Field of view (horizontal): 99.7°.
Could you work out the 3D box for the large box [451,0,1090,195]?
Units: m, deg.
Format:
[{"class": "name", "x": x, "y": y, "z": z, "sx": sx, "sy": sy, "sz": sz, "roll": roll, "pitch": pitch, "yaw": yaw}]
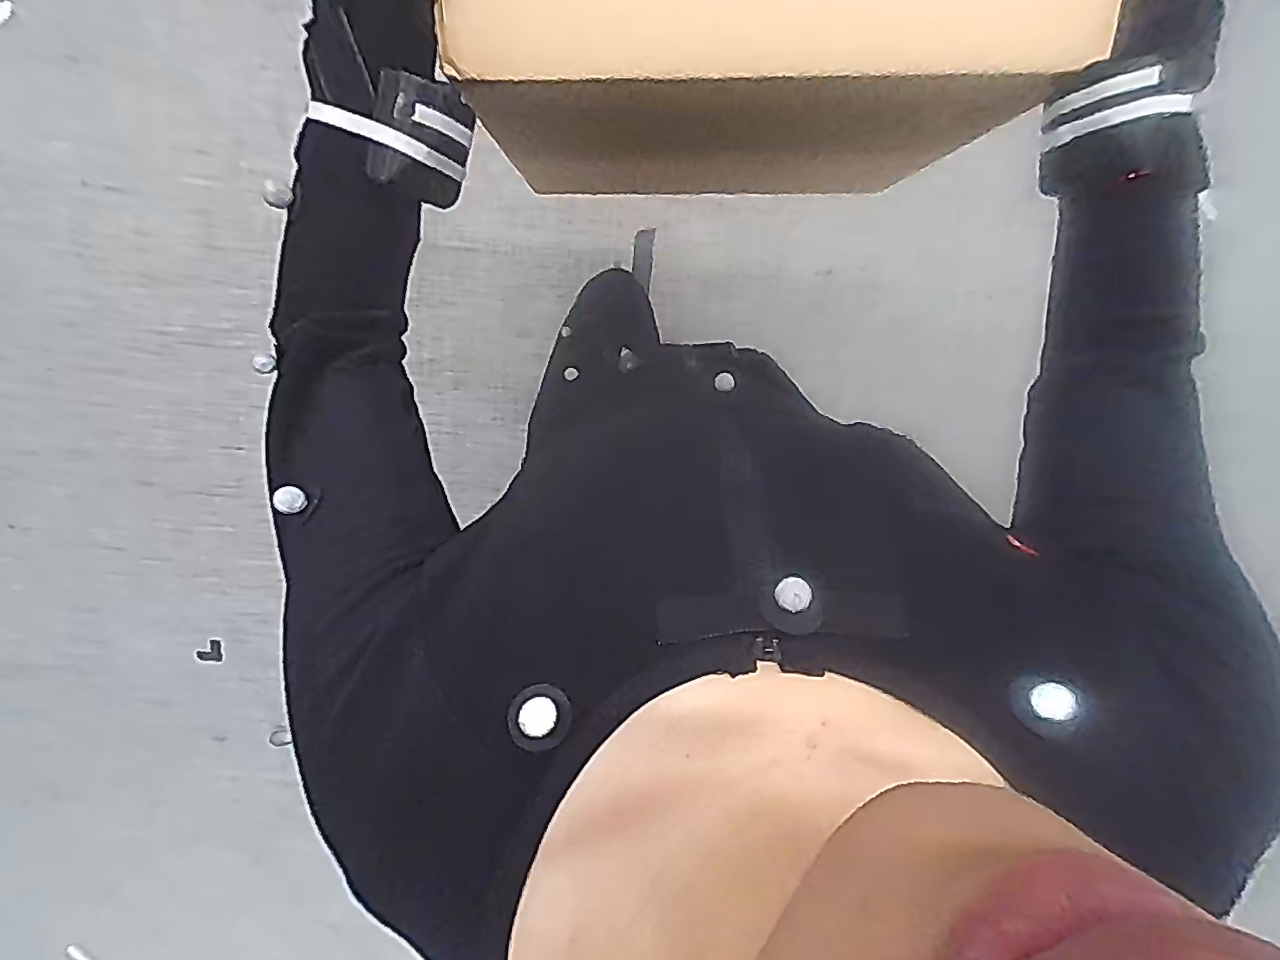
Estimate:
[{"class": "large box", "x": 0.074, "y": -0.447, "z": 0.447, "sx": 0.408, "sy": 0.320, "sz": 0.320, "roll": -1, "pitch": 106, "yaw": -1}]
